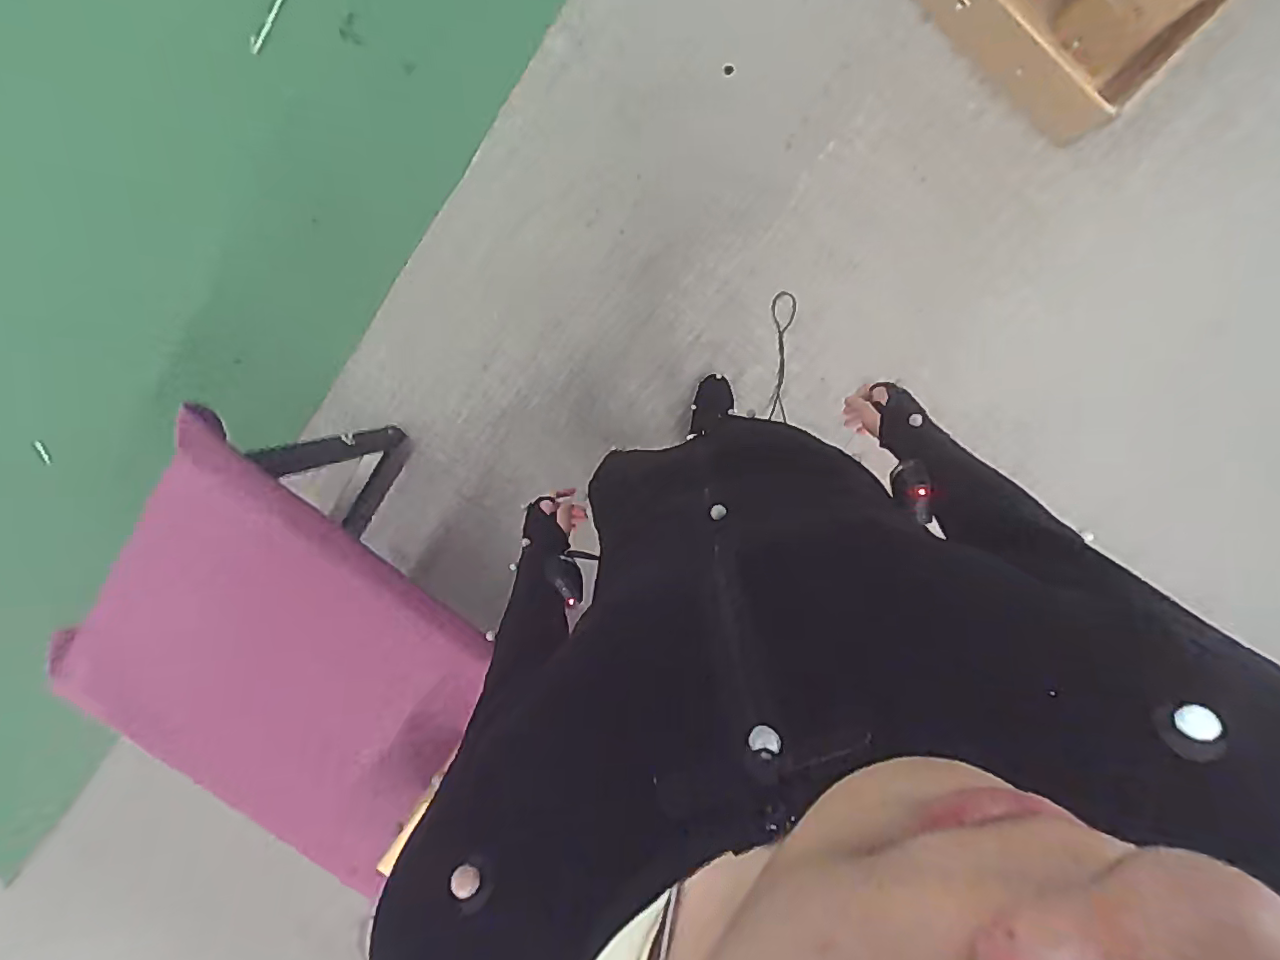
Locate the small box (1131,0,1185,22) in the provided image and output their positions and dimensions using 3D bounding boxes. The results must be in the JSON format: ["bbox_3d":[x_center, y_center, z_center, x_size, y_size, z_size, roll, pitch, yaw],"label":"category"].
[{"bbox_3d":[1.062,-1.047,1.032,0.168,0.176,0.179,44,100,-3],"label":"small box"}]

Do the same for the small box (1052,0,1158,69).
[{"bbox_3d":[1.077,-1.077,1.193,0.168,0.176,0.179,42,102,-2],"label":"small box"}]

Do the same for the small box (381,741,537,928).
[{"bbox_3d":[-0.304,0.609,0.947,0.168,0.176,0.179,35,101,-3],"label":"small box"}]
